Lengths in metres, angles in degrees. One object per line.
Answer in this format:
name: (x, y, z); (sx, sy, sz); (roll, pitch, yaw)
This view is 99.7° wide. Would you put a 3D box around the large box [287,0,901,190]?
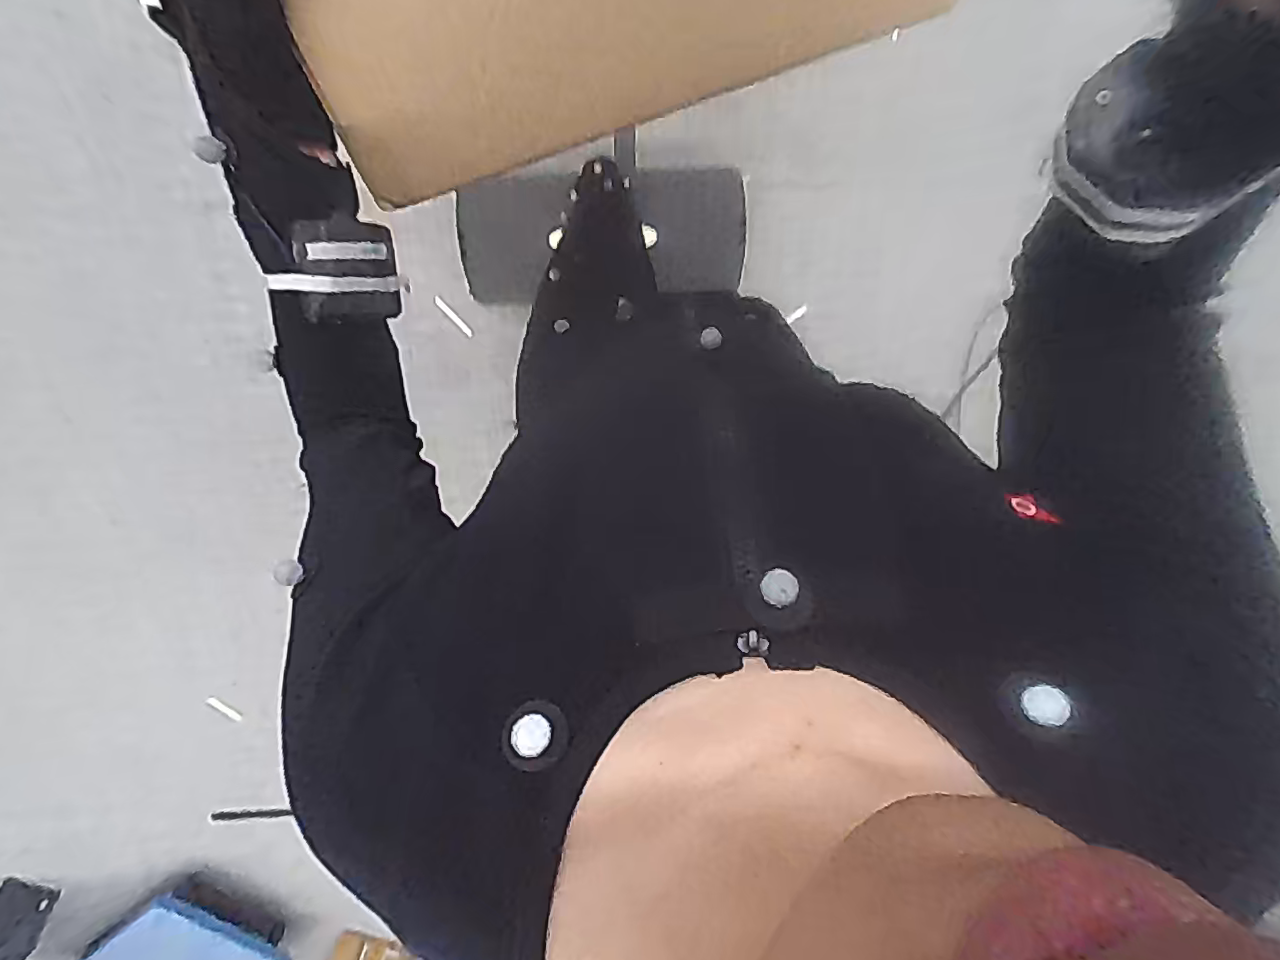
large box: (-0.055, -0.459, 0.390); (0.408, 0.320, 0.320); (-19, 127, 2)
